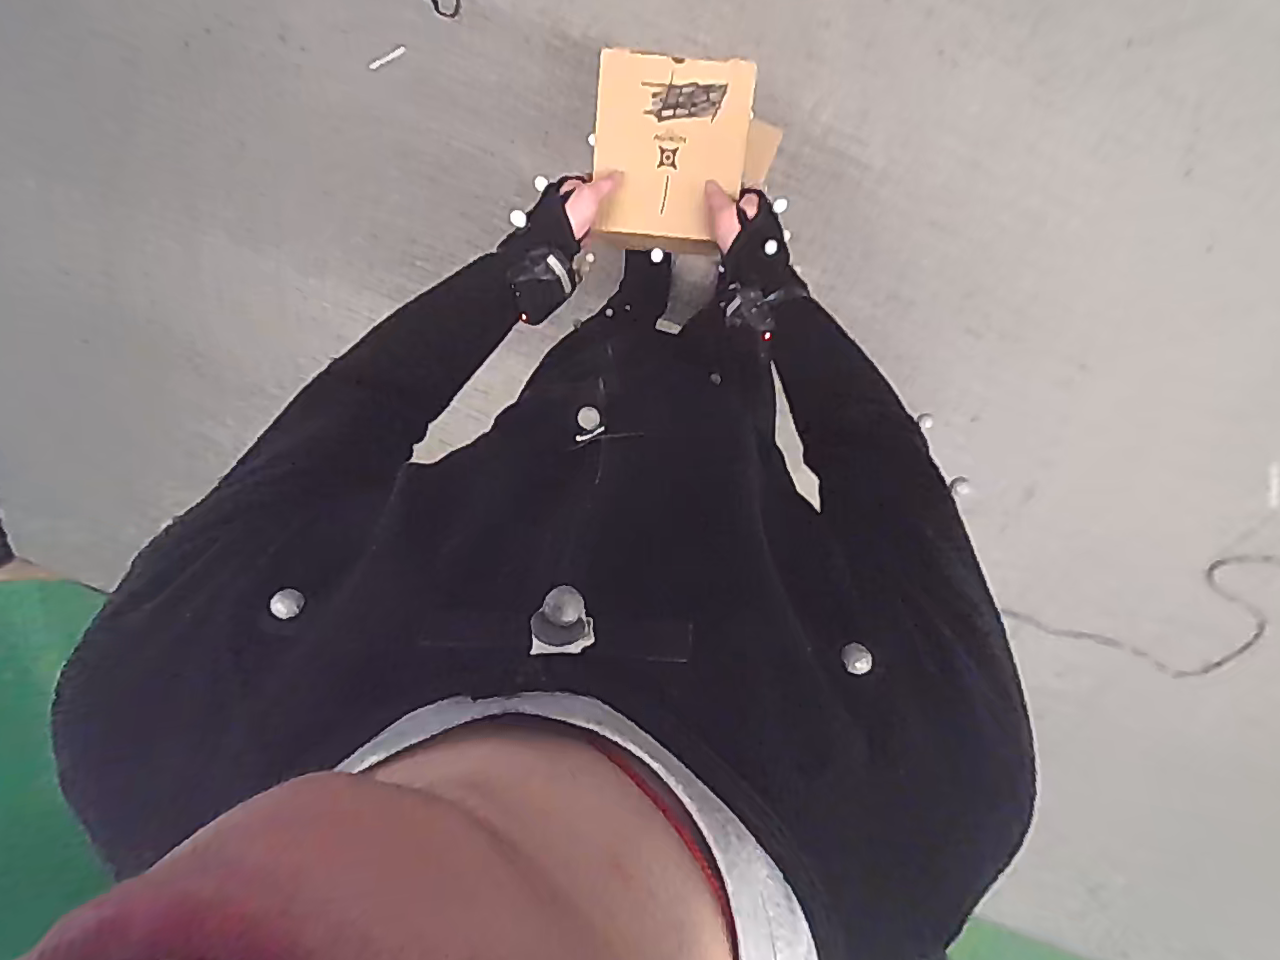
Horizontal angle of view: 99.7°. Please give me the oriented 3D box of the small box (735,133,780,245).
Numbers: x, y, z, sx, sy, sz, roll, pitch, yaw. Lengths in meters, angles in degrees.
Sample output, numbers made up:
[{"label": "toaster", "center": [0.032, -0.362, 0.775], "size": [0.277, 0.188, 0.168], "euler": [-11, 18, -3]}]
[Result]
[{"label": "small box", "center": [0.157, -0.582, 1.053], "size": [0.168, 0.176, 0.179], "euler": [21, 119, -3]}]

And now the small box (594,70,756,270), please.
[{"label": "small box", "center": [0.039, -0.370, 0.677], "size": [0.168, 0.176, 0.179], "euler": [6, 107, 1]}]
